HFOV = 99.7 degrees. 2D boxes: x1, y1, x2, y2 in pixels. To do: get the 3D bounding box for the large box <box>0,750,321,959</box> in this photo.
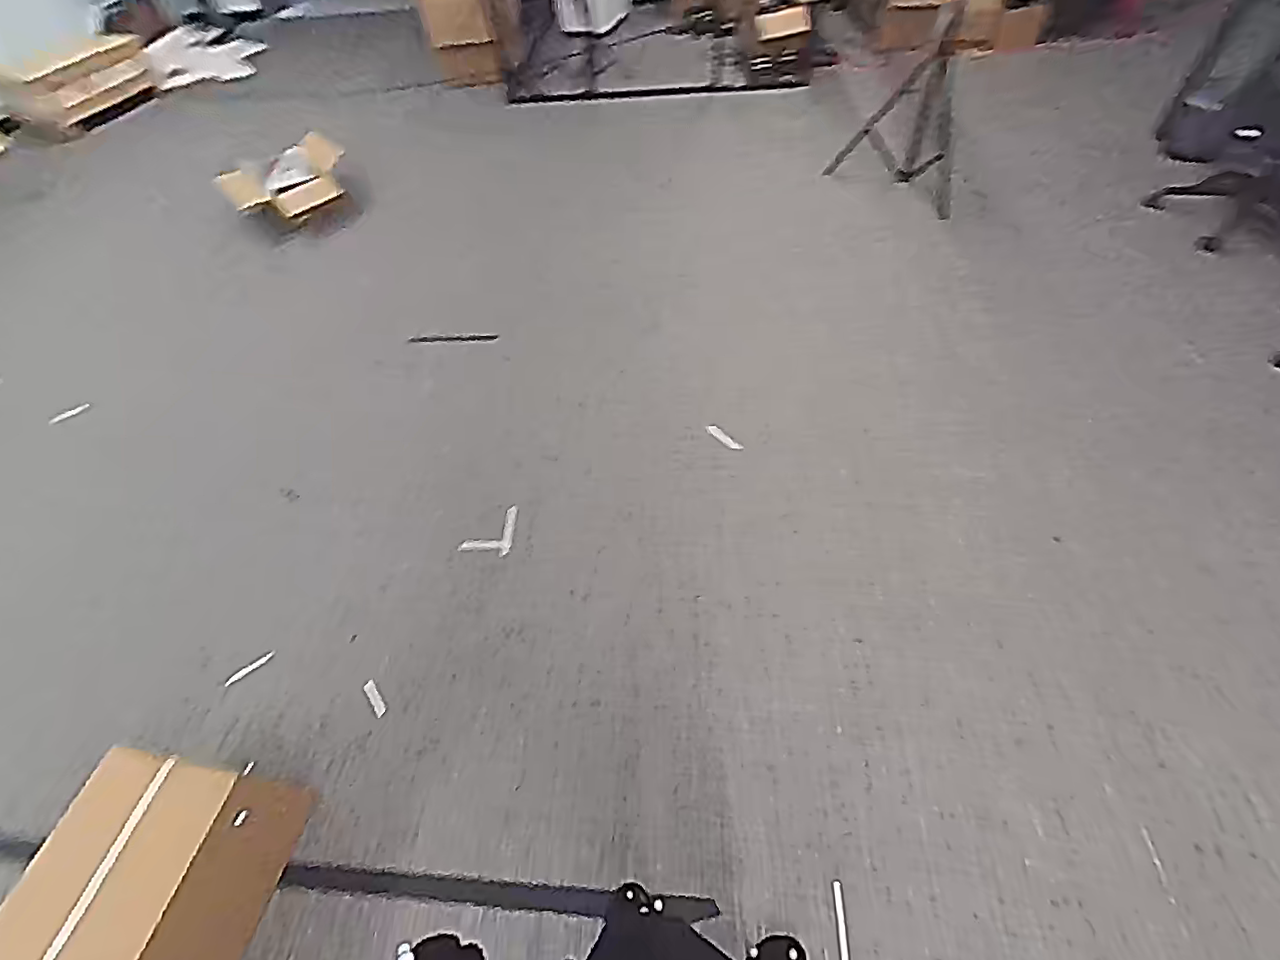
[{"bbox_3d":[-0.964,0.823,1.117,0.320,0.320,0.408,7,55,9],"label":"large box"}]
